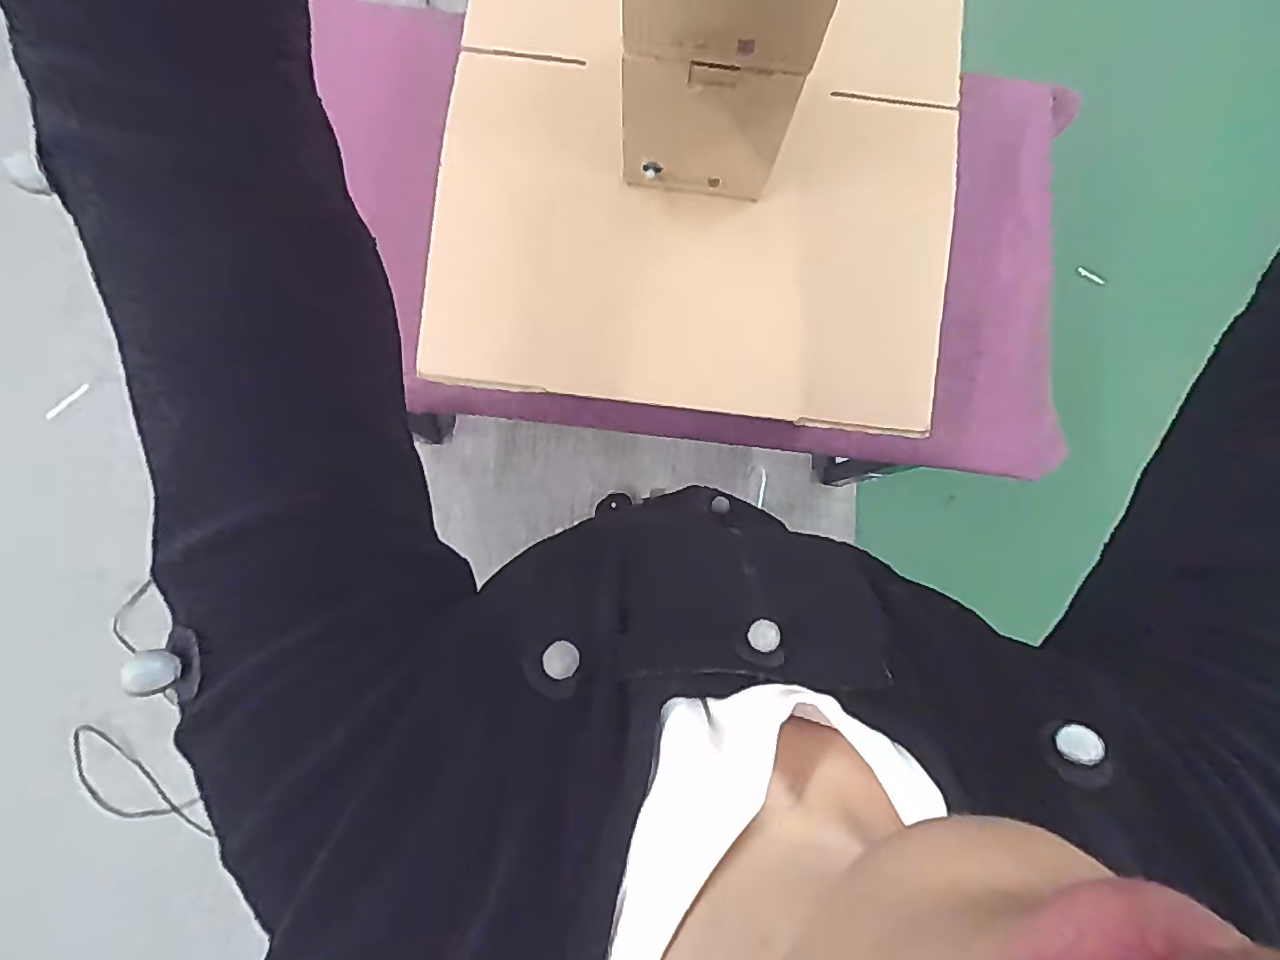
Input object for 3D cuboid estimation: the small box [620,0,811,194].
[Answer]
[{"bbox_3d":[0.073,-0.434,0.565,0.168,0.176,0.179,7,82,0],"label":"small box"}]
